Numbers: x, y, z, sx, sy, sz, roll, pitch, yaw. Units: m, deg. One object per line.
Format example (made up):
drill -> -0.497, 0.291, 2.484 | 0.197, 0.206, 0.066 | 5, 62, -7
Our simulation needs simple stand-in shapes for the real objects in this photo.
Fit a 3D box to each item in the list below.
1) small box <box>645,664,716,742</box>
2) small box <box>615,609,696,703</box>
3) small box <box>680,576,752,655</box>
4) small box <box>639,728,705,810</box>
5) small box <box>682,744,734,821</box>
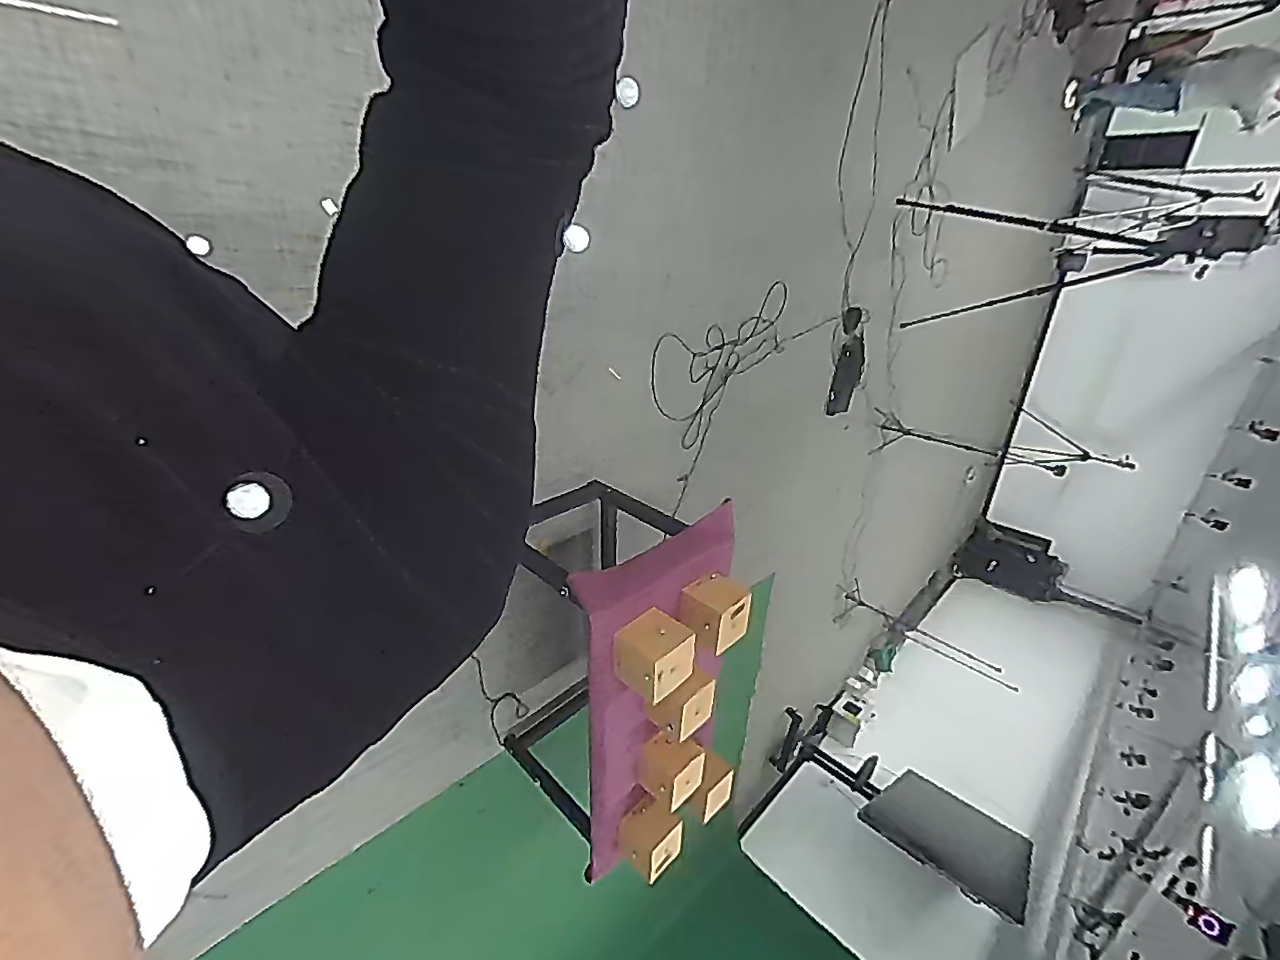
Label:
small box -> 0.132, 0.726, 1.818 | 0.168, 0.176, 0.179 | -20, 123, -41
small box -> 0.044, 0.517, 1.615 | 0.179, 0.176, 0.168 | -24, 125, -41
small box -> 0.250, 0.440, 1.805 | 0.168, 0.176, 0.179 | -20, 124, -40
small box -> 0.111, 1.027, 1.951 | 0.168, 0.176, 0.179 | -19, 121, -41
small box -> 0.257, 1.228, 2.206 | 0.168, 0.176, 0.179 | -18, 120, -41
